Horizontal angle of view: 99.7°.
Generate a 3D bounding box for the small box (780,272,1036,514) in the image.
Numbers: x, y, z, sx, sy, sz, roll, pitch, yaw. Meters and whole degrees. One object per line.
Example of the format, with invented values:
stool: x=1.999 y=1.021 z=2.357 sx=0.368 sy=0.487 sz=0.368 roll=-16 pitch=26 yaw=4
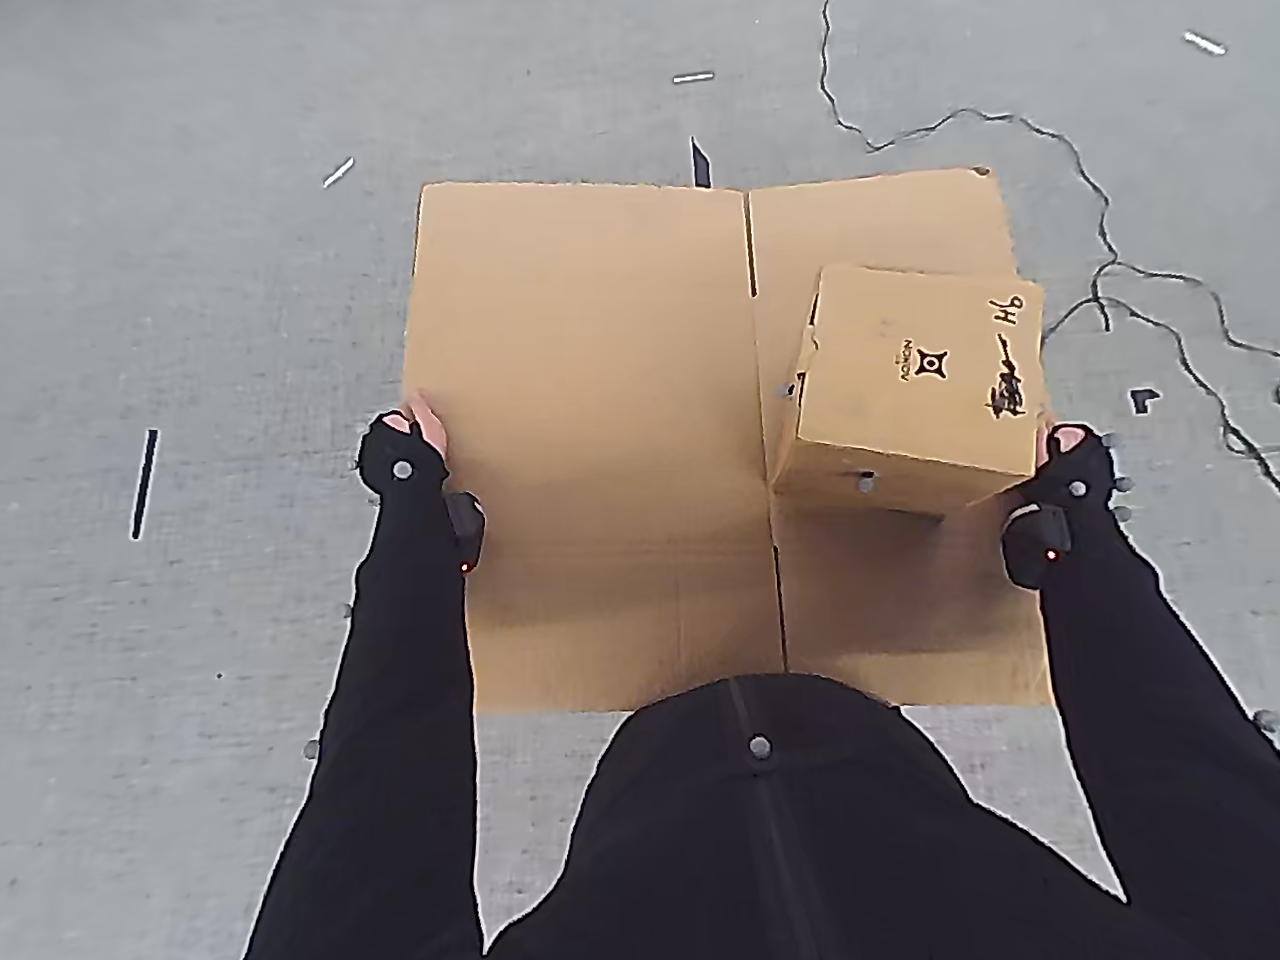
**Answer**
small box: x=0.237 y=-0.072 z=0.518 sx=0.179 sy=0.176 sz=0.168 roll=9 pitch=77 yaw=11
